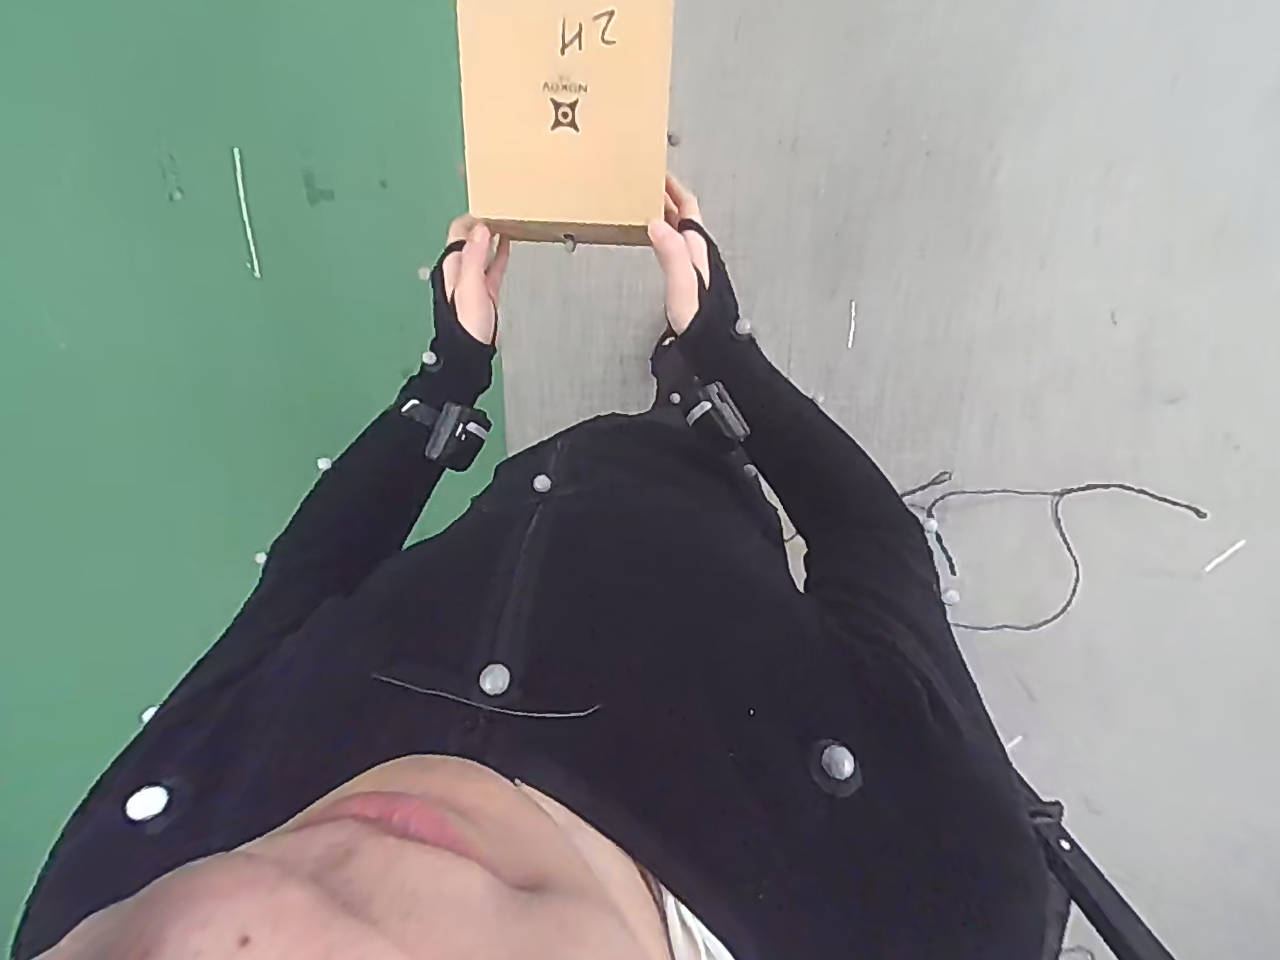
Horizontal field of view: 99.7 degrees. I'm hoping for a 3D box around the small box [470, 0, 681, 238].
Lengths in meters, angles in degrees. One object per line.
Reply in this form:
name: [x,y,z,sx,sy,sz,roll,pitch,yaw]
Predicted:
small box: [-0.055,-0.334,0.513,0.168,0.176,0.179,2,108,-3]
